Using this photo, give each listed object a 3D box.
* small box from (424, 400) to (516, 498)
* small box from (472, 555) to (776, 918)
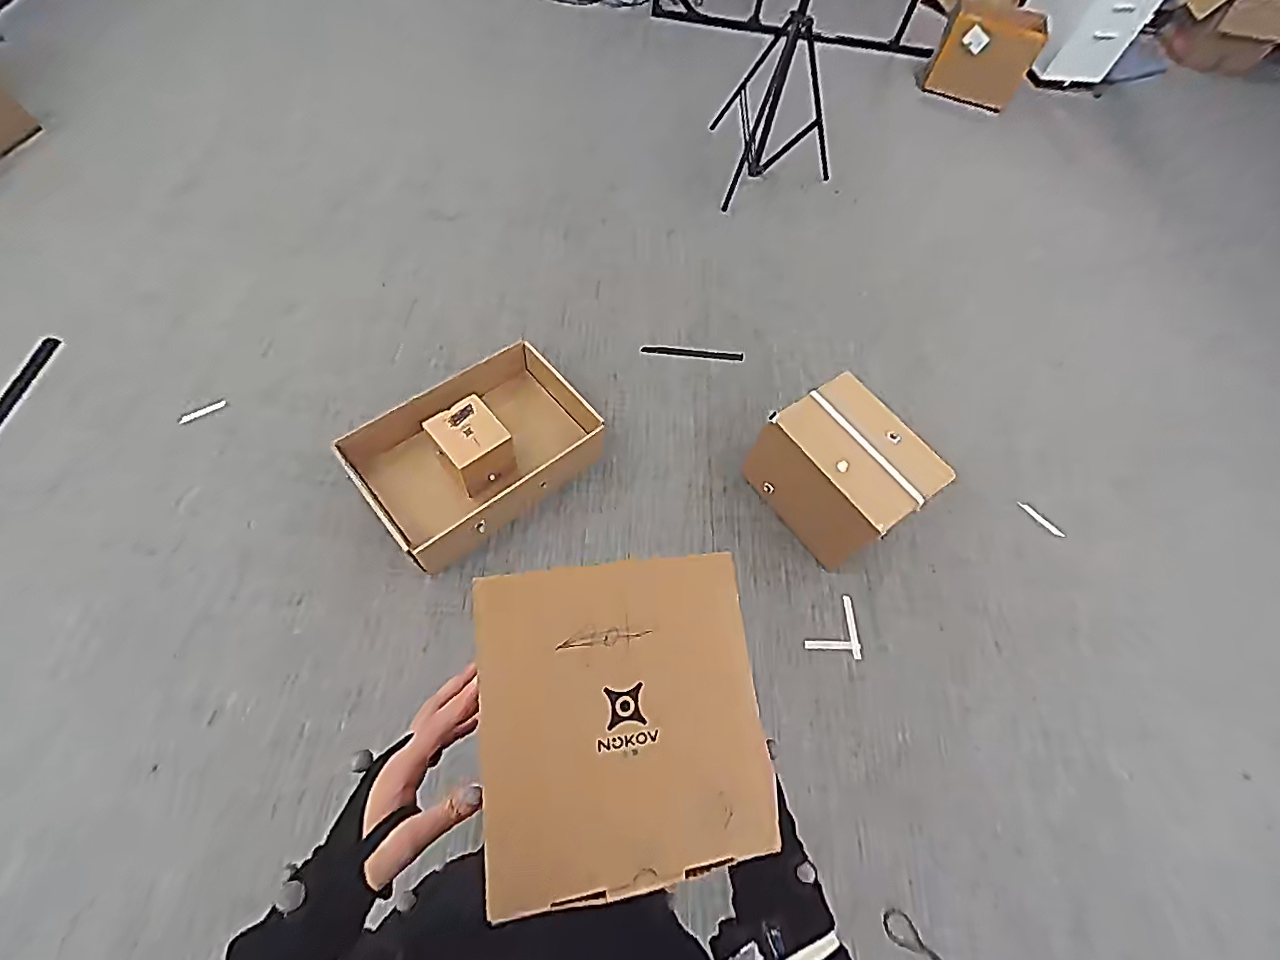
[{"bbox_3d":[-0.465,-0.082,1.500,0.168,0.176,0.179,-37,72,-23],"label":"small box"},{"bbox_3d":[-0.027,0.161,0.393,0.168,0.176,0.179,-5,73,-15],"label":"small box"}]
